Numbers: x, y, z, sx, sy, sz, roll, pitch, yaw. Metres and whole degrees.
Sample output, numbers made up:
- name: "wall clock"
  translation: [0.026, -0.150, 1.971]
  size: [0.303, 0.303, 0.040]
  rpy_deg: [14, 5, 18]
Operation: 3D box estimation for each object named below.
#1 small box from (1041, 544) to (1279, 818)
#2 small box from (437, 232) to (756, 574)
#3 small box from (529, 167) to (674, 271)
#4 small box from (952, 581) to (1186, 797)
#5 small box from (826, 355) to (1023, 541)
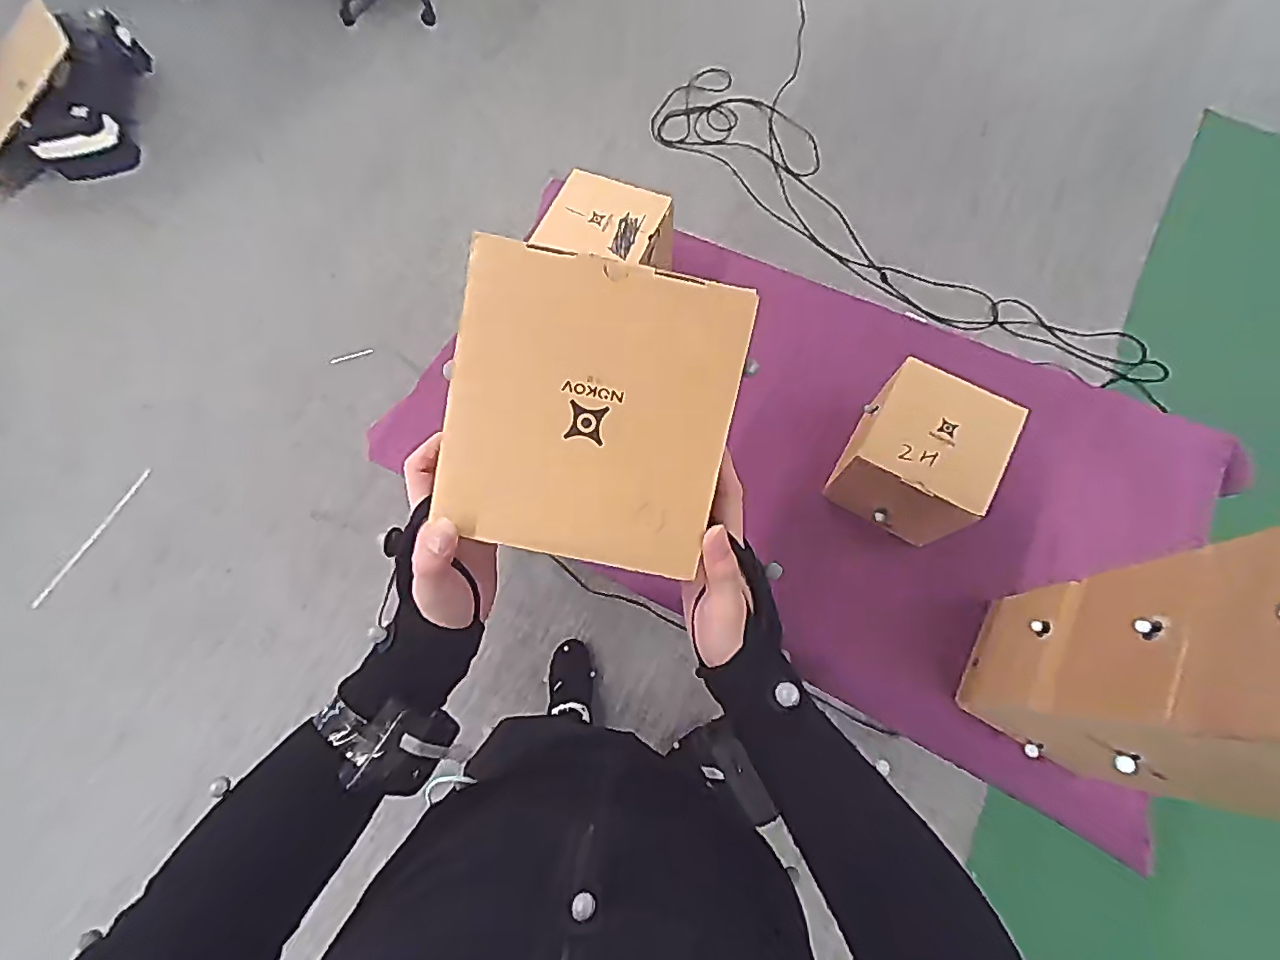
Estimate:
- name: "small box"
  translation: [0.536, 0.191, 0.519]
  size: [0.168, 0.176, 0.179]
  rpy_deg: [29, 74, 13]
- name: "small box"
  translation: [-0.028, -0.052, 0.398]
  size: [0.168, 0.176, 0.179]
  rpy_deg: [11, 98, -1]
- name: "small box"
  translation: [-0.055, -0.373, 0.906]
  size: [0.179, 0.176, 0.168]
  rpy_deg: [22, 73, 10]
- name: "small box"
  translation: [0.537, 0.249, 0.672]
  size: [0.179, 0.176, 0.168]
  rpy_deg: [30, 73, 11]
- name: "small box"
  translation: [0.393, -0.037, 0.777]
  size: [0.168, 0.176, 0.179]
  rpy_deg: [30, 75, 12]
